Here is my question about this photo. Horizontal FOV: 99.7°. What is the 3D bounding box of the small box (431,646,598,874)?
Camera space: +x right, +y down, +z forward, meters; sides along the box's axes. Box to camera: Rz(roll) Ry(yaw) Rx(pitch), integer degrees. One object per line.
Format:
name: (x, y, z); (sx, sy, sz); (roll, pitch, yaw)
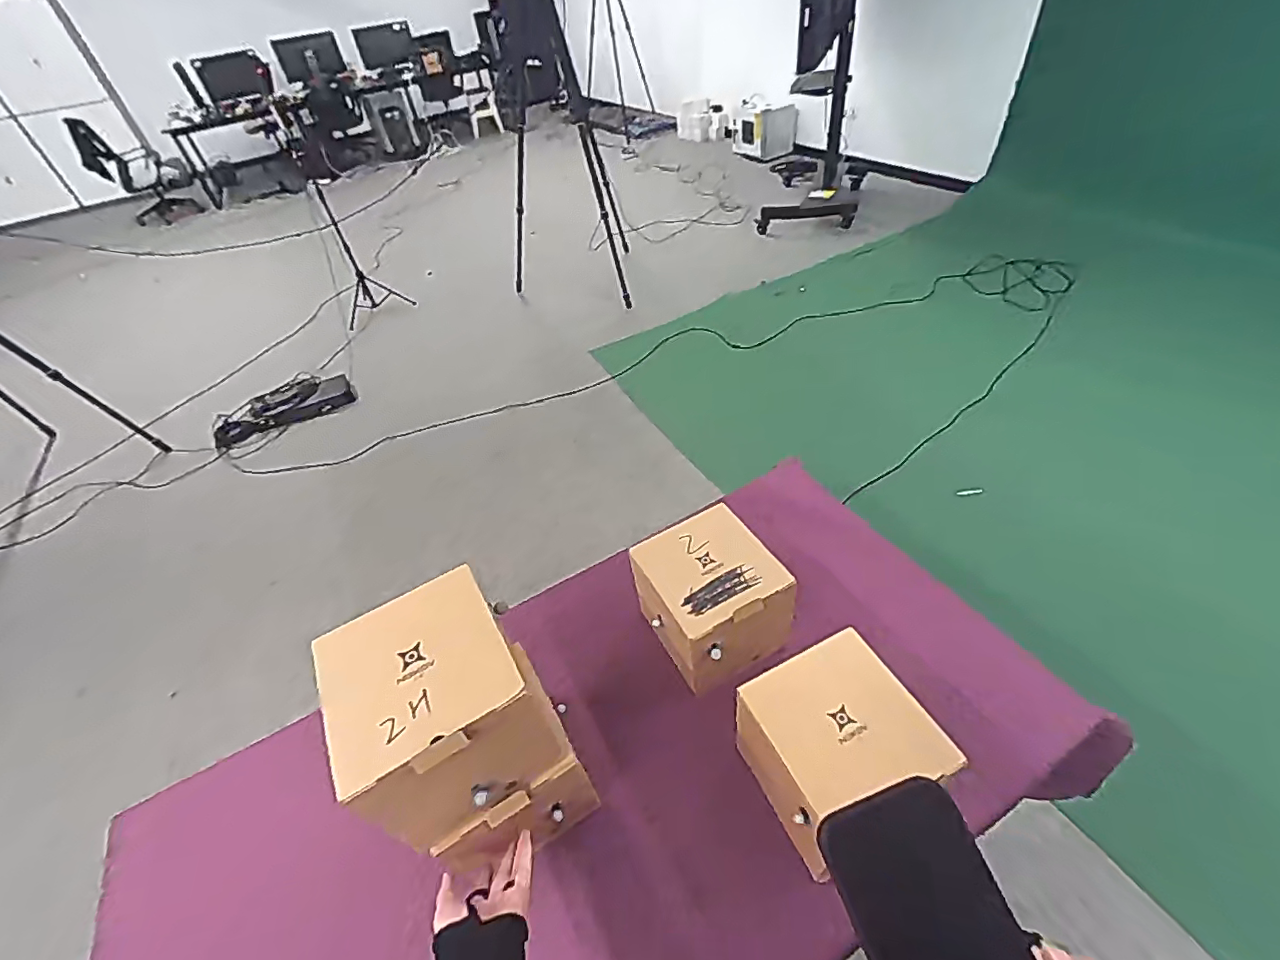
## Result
small box: (-0.168, 0.351, 0.673); (0.168, 0.176, 0.179); (-27, 46, -17)

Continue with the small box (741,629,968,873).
small box: (0.230, 0.316, 0.636); (0.168, 0.176, 0.179); (-23, 46, -13)

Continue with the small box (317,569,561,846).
small box: (-0.202, 0.233, 0.563); (0.168, 0.176, 0.179); (-27, 46, -17)
